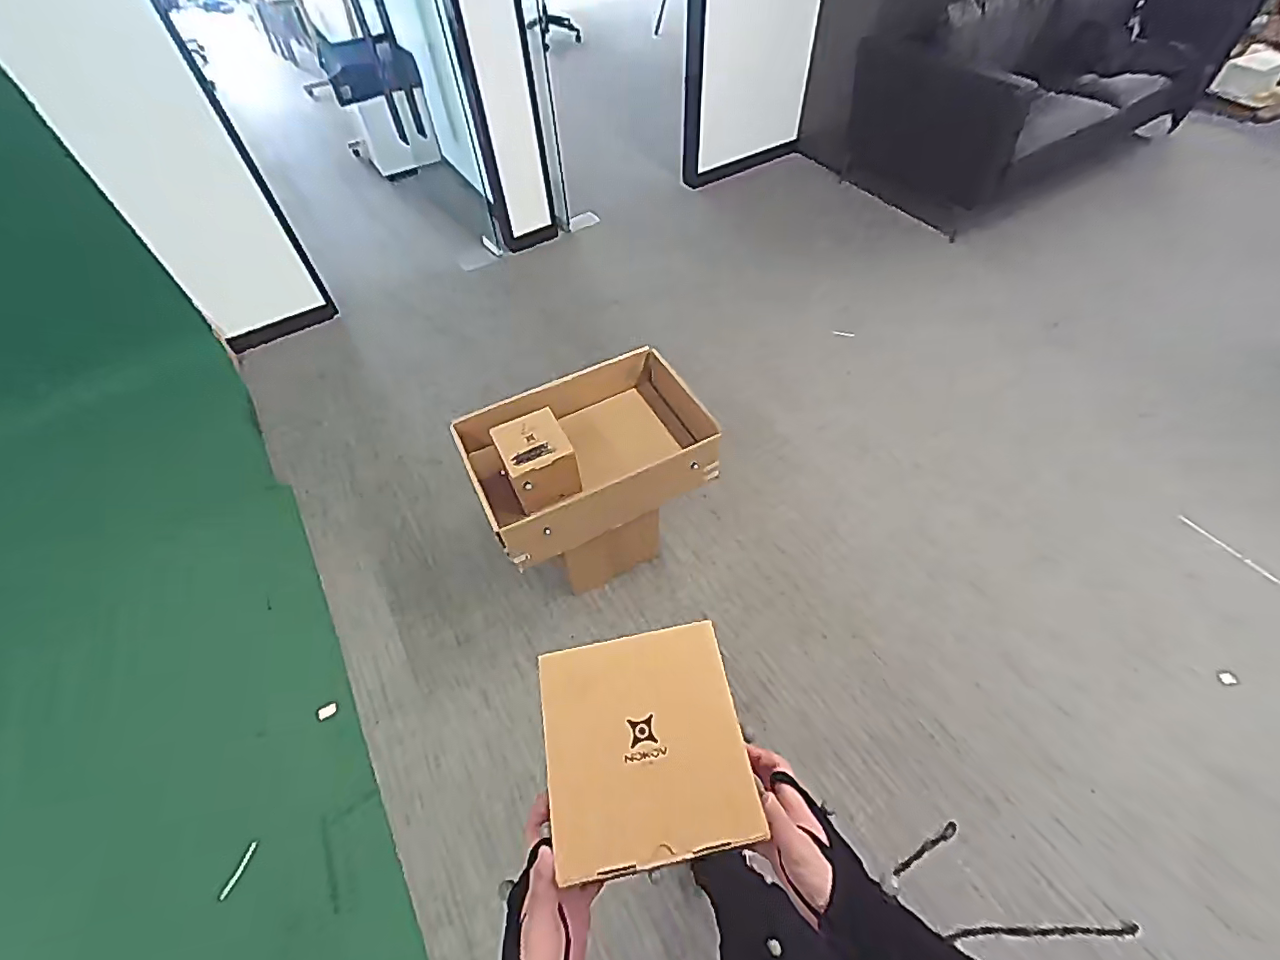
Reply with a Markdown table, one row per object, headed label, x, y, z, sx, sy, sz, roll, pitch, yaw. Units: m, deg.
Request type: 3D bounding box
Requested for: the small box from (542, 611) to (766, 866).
| label | x | y | z | sx | sy | sz | roll | pitch | yaw |
| --- | --- | --- | --- | --- | --- | --- | --- | --- | --- |
| small box | 0.007 | 0.252 | 0.522 | 0.168 | 0.176 | 0.179 | -11 | 56 | -3 |
